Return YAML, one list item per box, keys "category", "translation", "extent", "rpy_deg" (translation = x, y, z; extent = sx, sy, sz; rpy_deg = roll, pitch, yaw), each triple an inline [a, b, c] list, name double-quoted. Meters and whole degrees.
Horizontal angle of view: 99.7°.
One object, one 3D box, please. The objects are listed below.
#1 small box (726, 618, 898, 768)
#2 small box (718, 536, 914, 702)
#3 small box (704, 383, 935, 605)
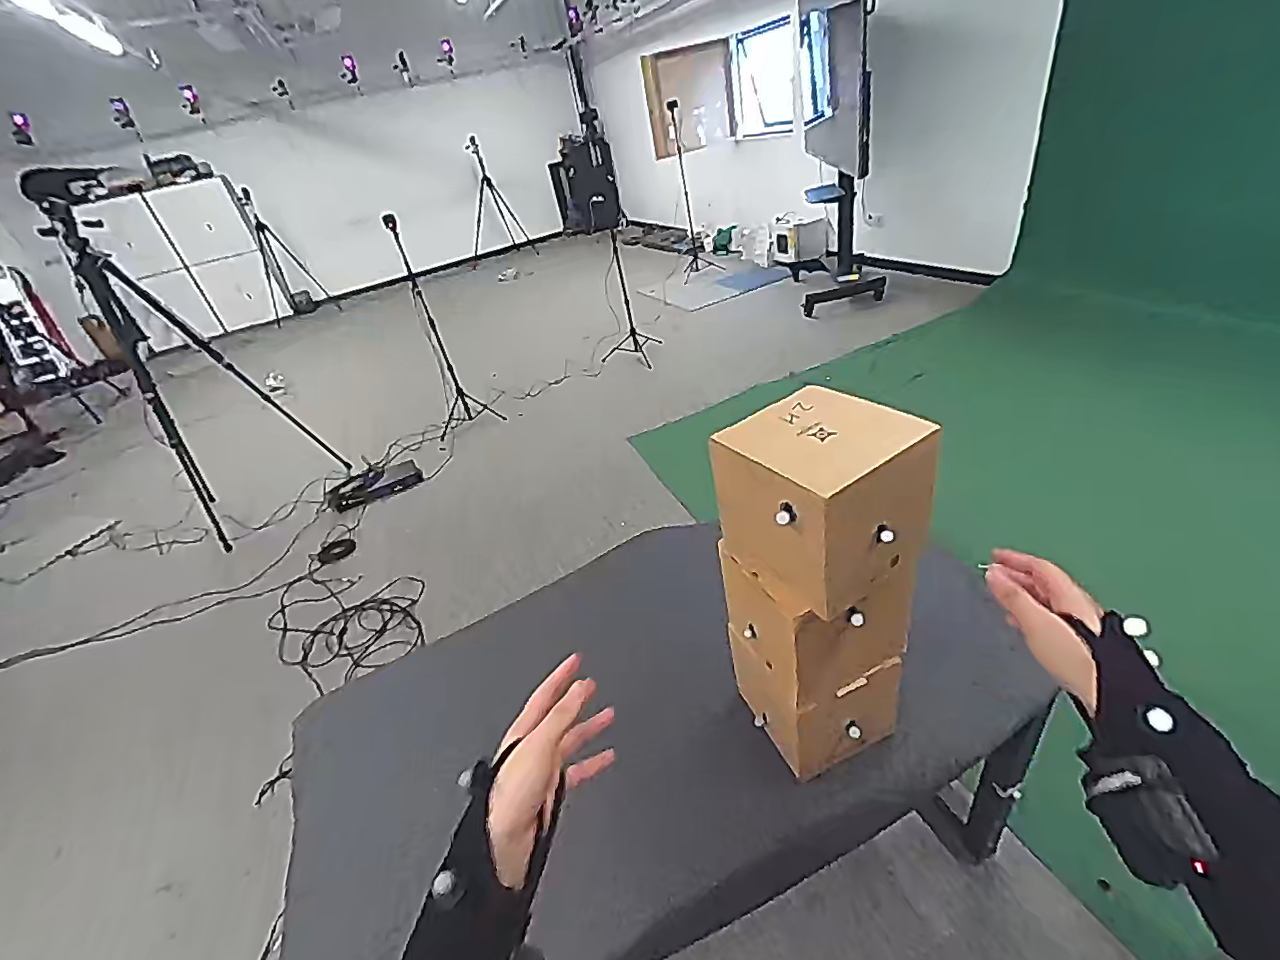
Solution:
- category: "small box"
  translation: [0.248, 0.286, 0.793]
  extent: [0.168, 0.176, 0.179]
  rpy_deg: [-22, 34, -12]
- category: "small box"
  translation: [0.224, 0.148, 0.708]
  extent: [0.179, 0.176, 0.168]
  rpy_deg: [-24, 33, -13]
- category: "small box"
  translation: [0.199, 0.015, 0.614]
  extent: [0.168, 0.176, 0.179]
  rpy_deg: [-28, 35, -20]
